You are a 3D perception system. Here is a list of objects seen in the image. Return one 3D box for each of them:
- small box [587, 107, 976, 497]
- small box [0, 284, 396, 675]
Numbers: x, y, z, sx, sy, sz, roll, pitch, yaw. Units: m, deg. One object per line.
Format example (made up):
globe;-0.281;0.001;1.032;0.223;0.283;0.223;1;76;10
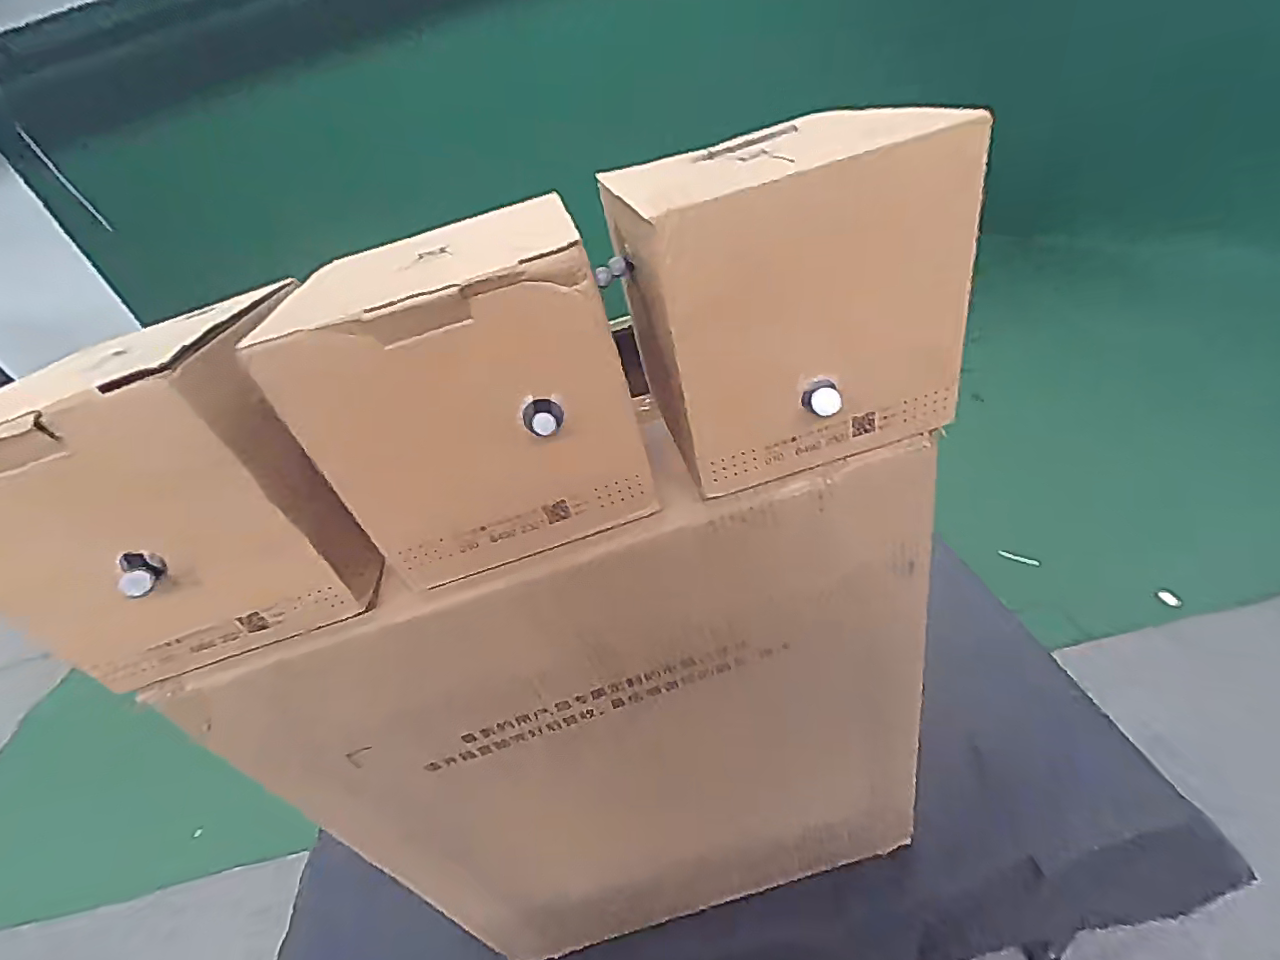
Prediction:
small box;0.073;-0.118;0.349;0.168;0.176;0.179;-18;36;0
small box;-0.287;0.001;0.353;0.168;0.176;0.179;-19;36;1
